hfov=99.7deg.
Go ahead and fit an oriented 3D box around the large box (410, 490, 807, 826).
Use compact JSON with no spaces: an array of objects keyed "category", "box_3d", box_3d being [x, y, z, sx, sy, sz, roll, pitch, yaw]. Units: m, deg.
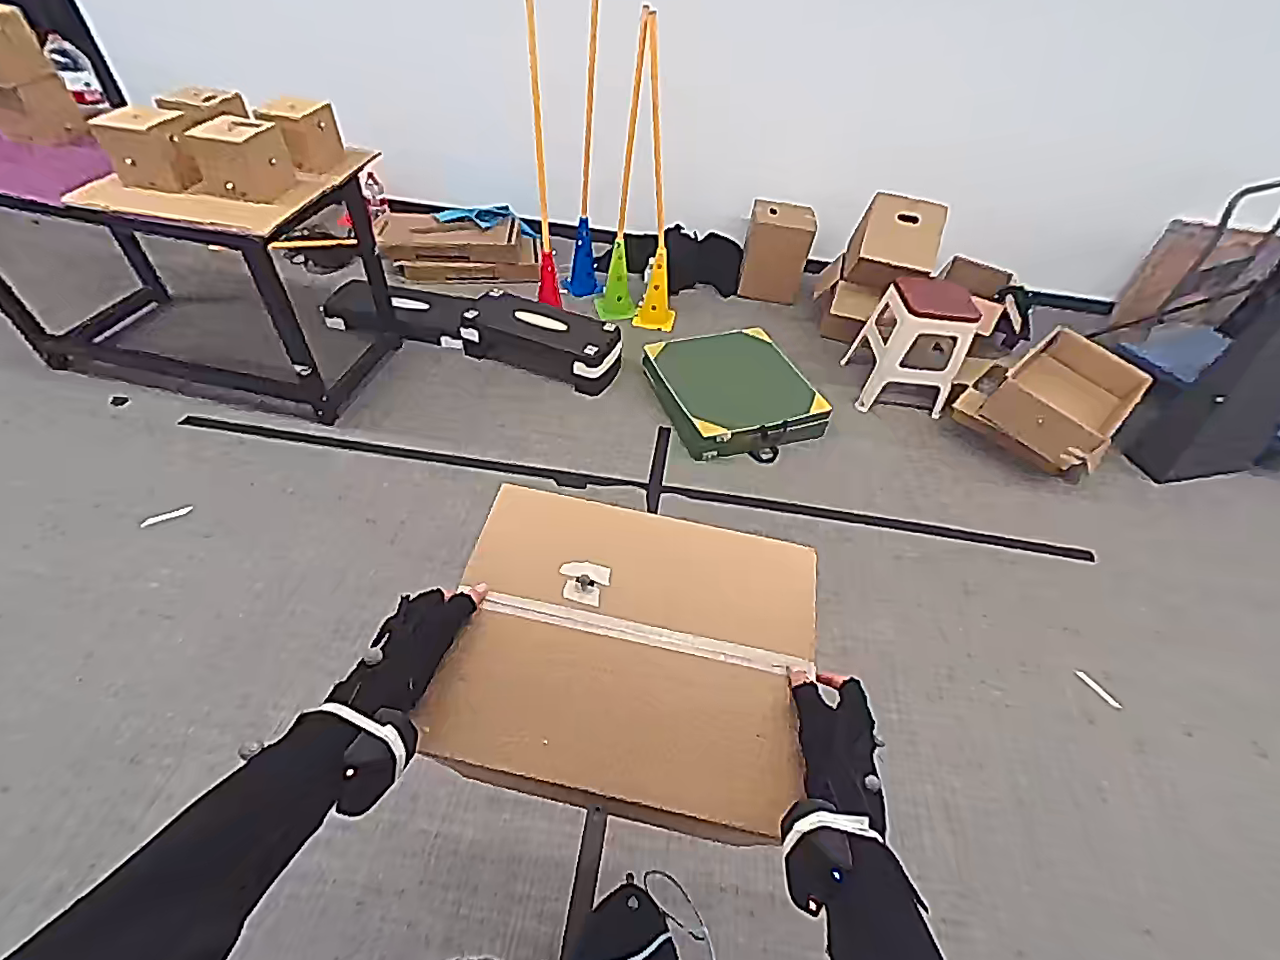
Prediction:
[{"category":"large box","box_3d":[-0.016,0.253,0.735,0.408,0.320,0.320,11,55,4]}]
